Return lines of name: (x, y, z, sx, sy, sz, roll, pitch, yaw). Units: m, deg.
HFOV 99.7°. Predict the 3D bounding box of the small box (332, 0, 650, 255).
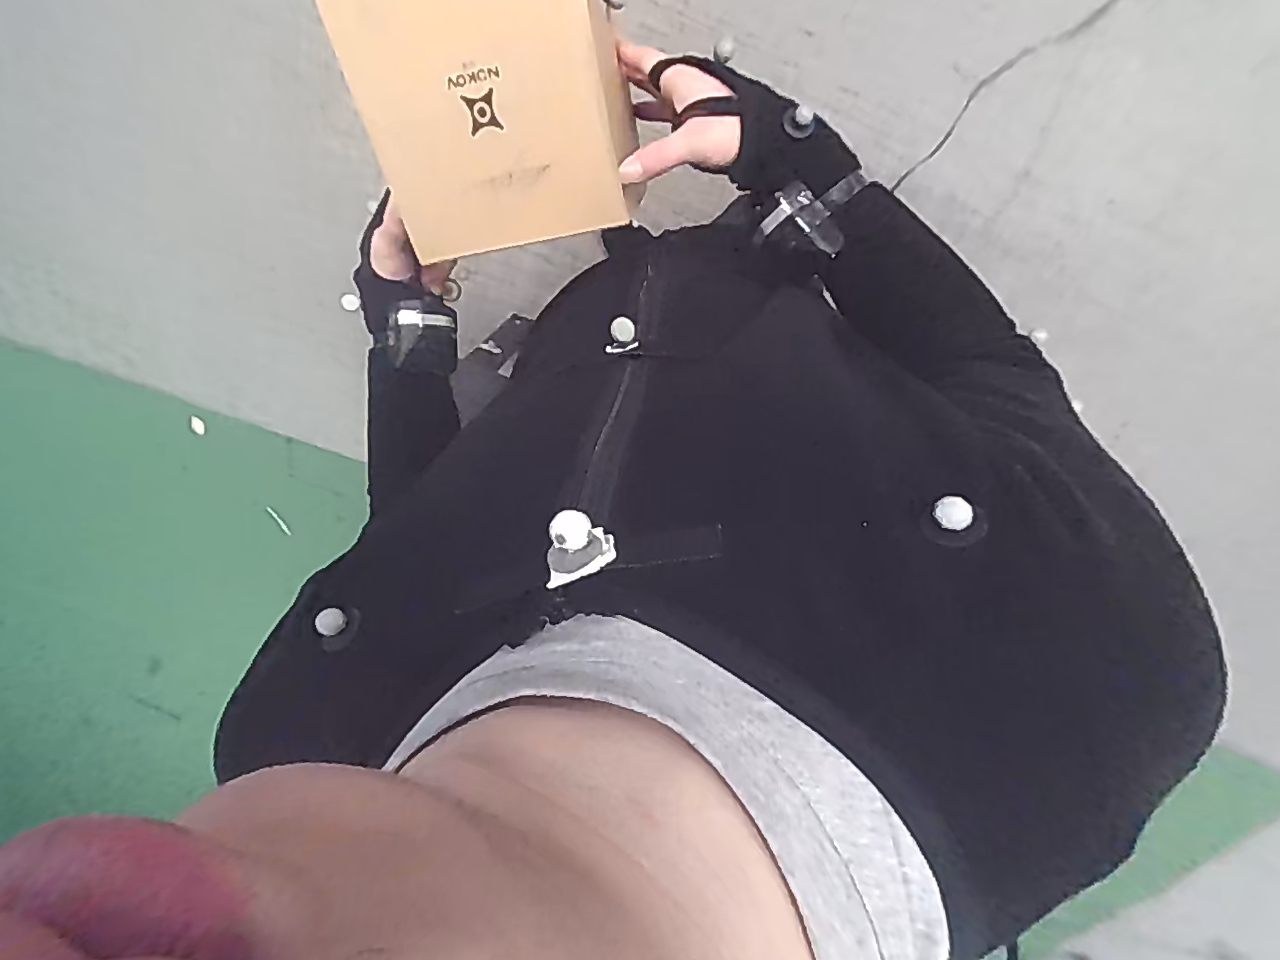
small box: (-0.089, -0.291, 0.411, 0.168, 0.176, 0.179, -5, 125, 10)
